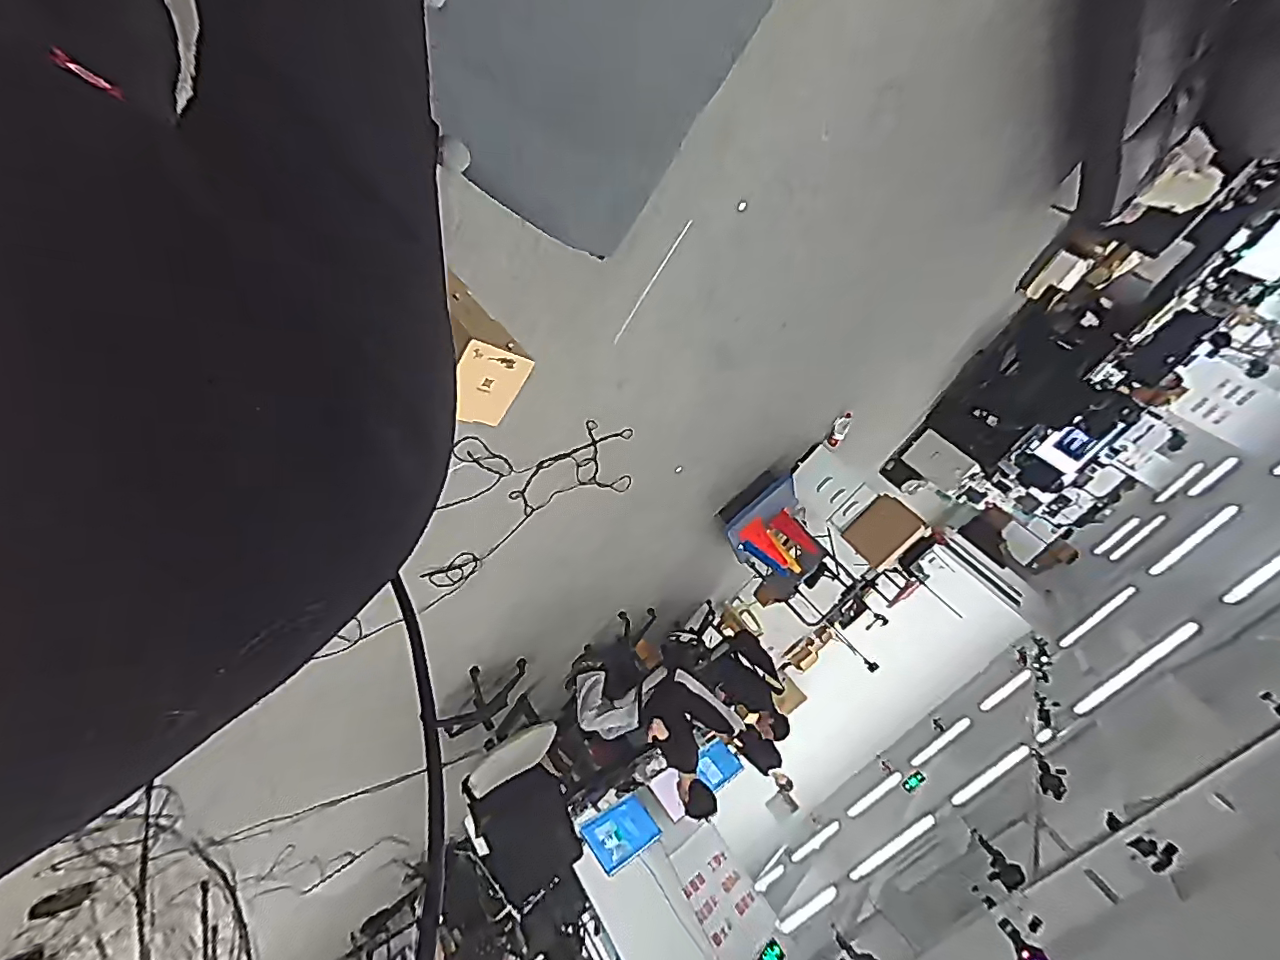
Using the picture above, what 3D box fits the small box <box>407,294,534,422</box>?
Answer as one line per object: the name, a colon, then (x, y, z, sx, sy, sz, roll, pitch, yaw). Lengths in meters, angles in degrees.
small box: (-0.362, -0.252, 1.134, 0.179, 0.176, 0.168, -52, 150, 18)
